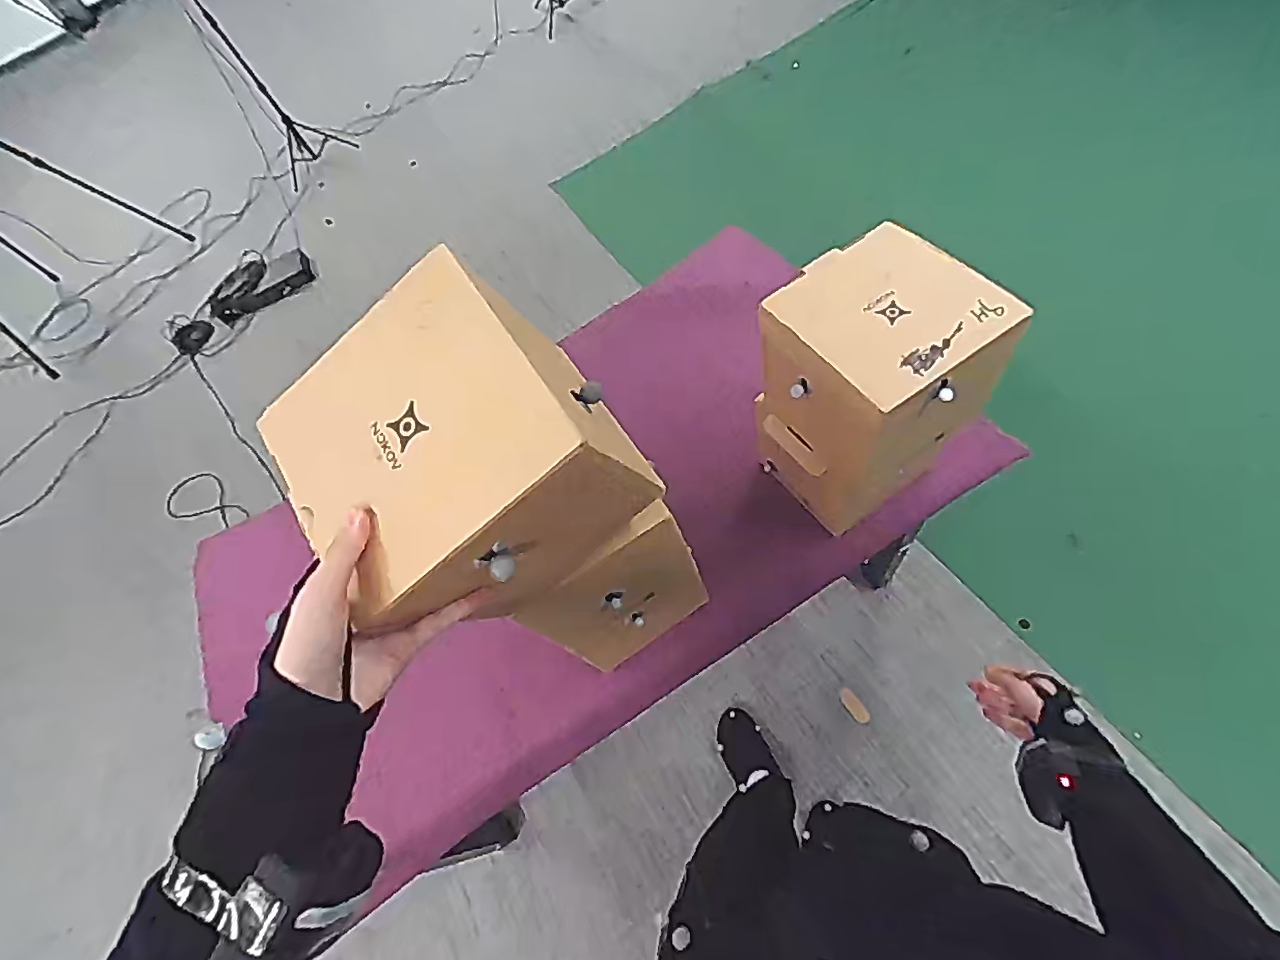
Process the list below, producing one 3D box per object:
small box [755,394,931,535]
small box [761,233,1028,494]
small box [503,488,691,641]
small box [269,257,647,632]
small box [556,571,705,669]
[{"bbox_3d":[0.278,-0.054,0.727,0.179,0.176,0.168,-35,60,-6],"label":"small box"},{"bbox_3d":[0.248,-0.117,0.576,0.168,0.176,0.179,-34,59,-4],"label":"small box"},{"bbox_3d":[-0.063,0.052,0.570,0.168,0.176,0.179,-31,60,-2],"label":"small box"},{"bbox_3d":[-0.113,-0.013,0.398,0.179,0.176,0.168,-39,70,8],"label":"small box"},{"bbox_3d":[-0.033,0.126,0.713,0.179,0.176,0.168,-33,59,-4],"label":"small box"}]
